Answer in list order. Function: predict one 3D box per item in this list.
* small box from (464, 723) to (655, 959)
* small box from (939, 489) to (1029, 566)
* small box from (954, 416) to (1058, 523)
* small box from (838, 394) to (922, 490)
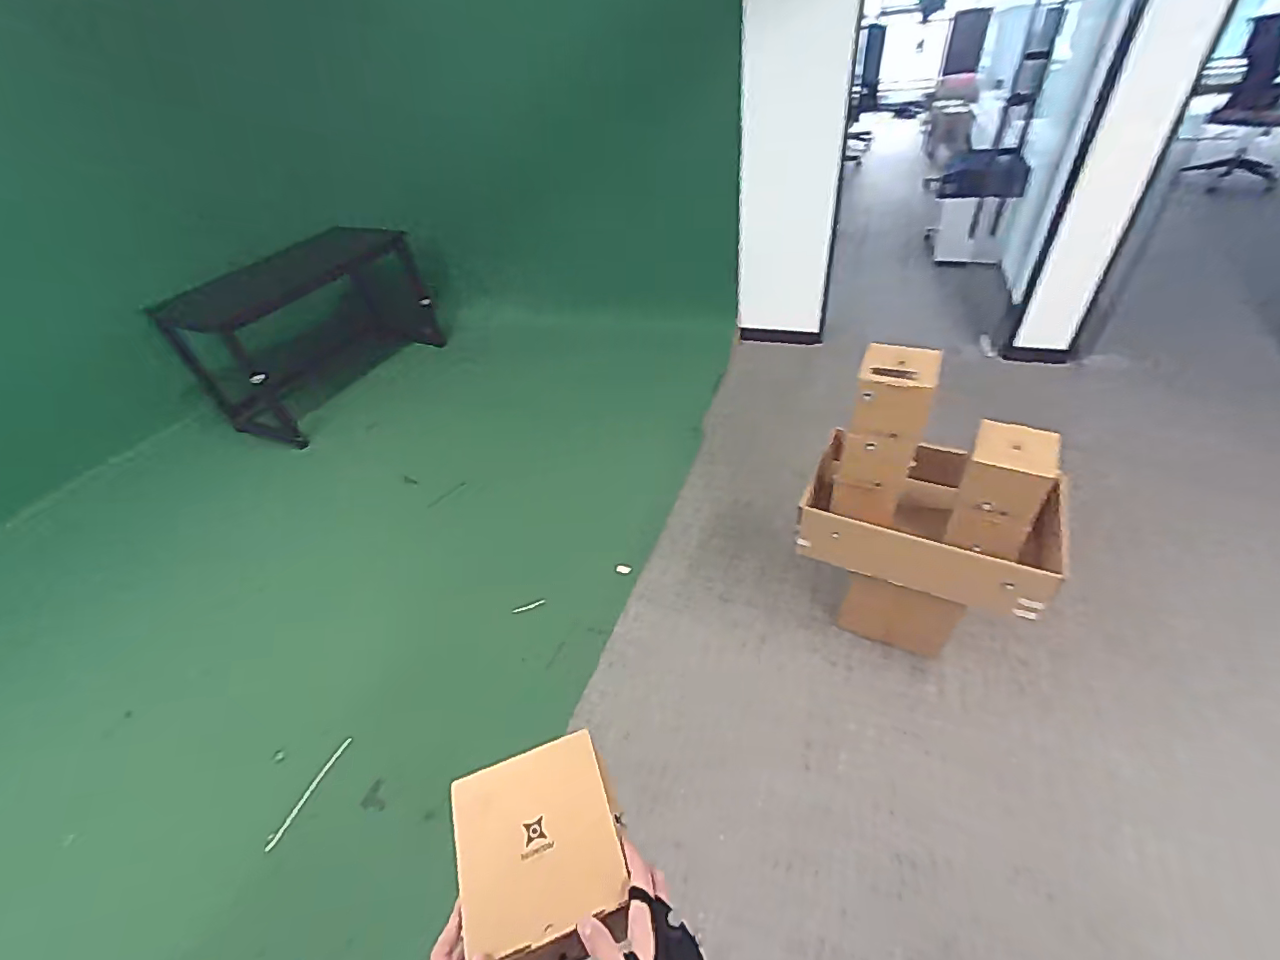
[{"bbox_3d":[-0.089,0.418,0.617,0.168,0.176,0.179,-17,45,-9],"label":"small box"},{"bbox_3d":[0.915,0.093,1.435,0.168,0.176,0.179,19,49,27],"label":"small box"},{"bbox_3d":[0.893,-0.027,1.327,0.168,0.176,0.179,18,49,26],"label":"small box"},{"bbox_3d":[0.639,-0.103,1.448,0.168,0.176,0.179,14,46,22],"label":"small box"}]
